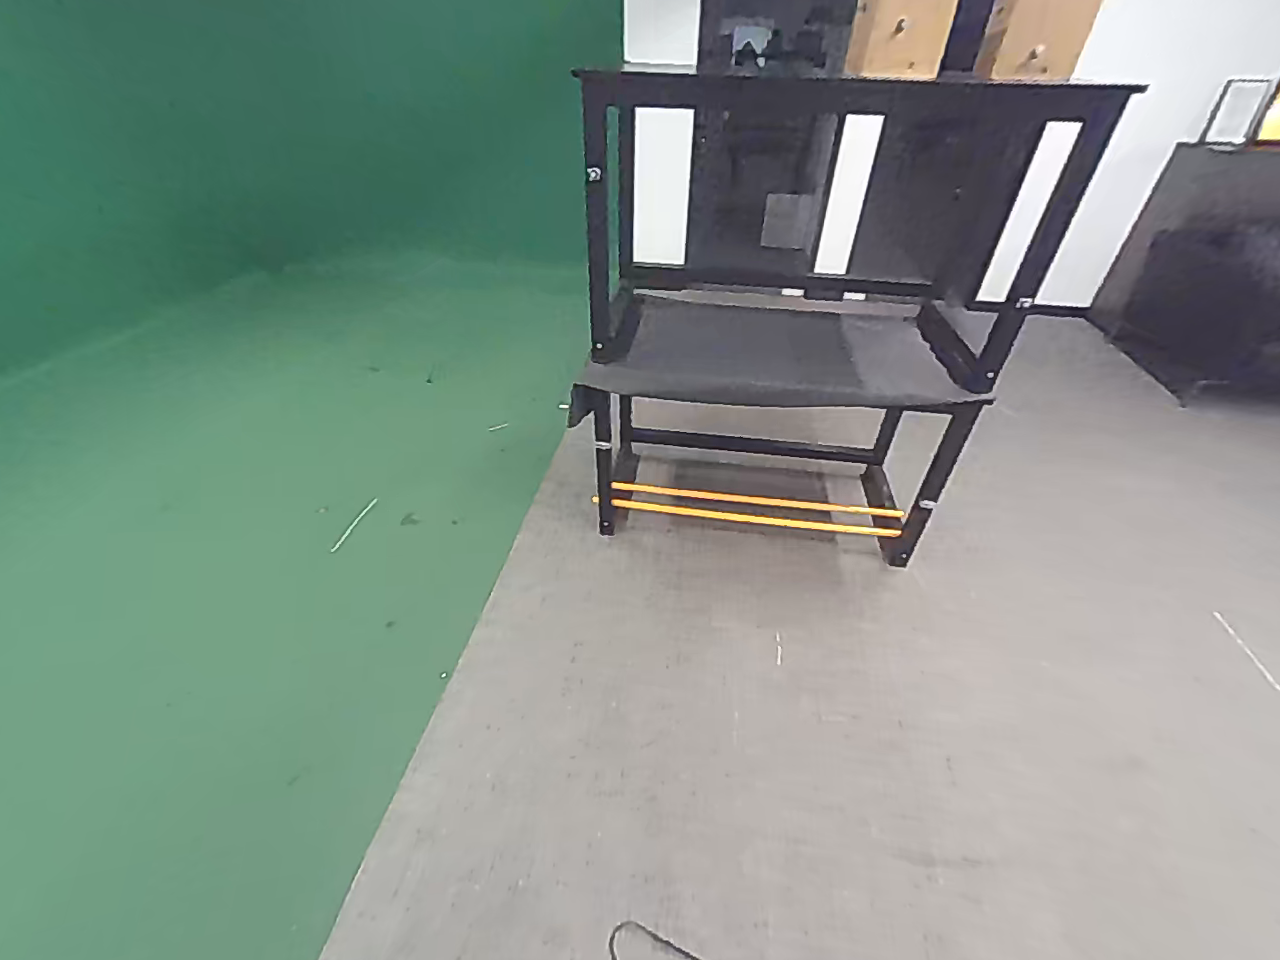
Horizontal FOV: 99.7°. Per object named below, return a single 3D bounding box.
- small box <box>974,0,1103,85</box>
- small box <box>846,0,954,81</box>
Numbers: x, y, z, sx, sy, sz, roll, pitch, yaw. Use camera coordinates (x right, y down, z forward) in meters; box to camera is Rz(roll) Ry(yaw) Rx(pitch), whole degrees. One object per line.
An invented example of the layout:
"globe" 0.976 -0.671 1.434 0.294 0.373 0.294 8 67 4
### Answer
"small box" 0.879 -0.996 1.207 0.168 0.176 0.179 8 40 10
"small box" 0.587 -1.018 1.233 0.168 0.176 0.179 3 38 2
